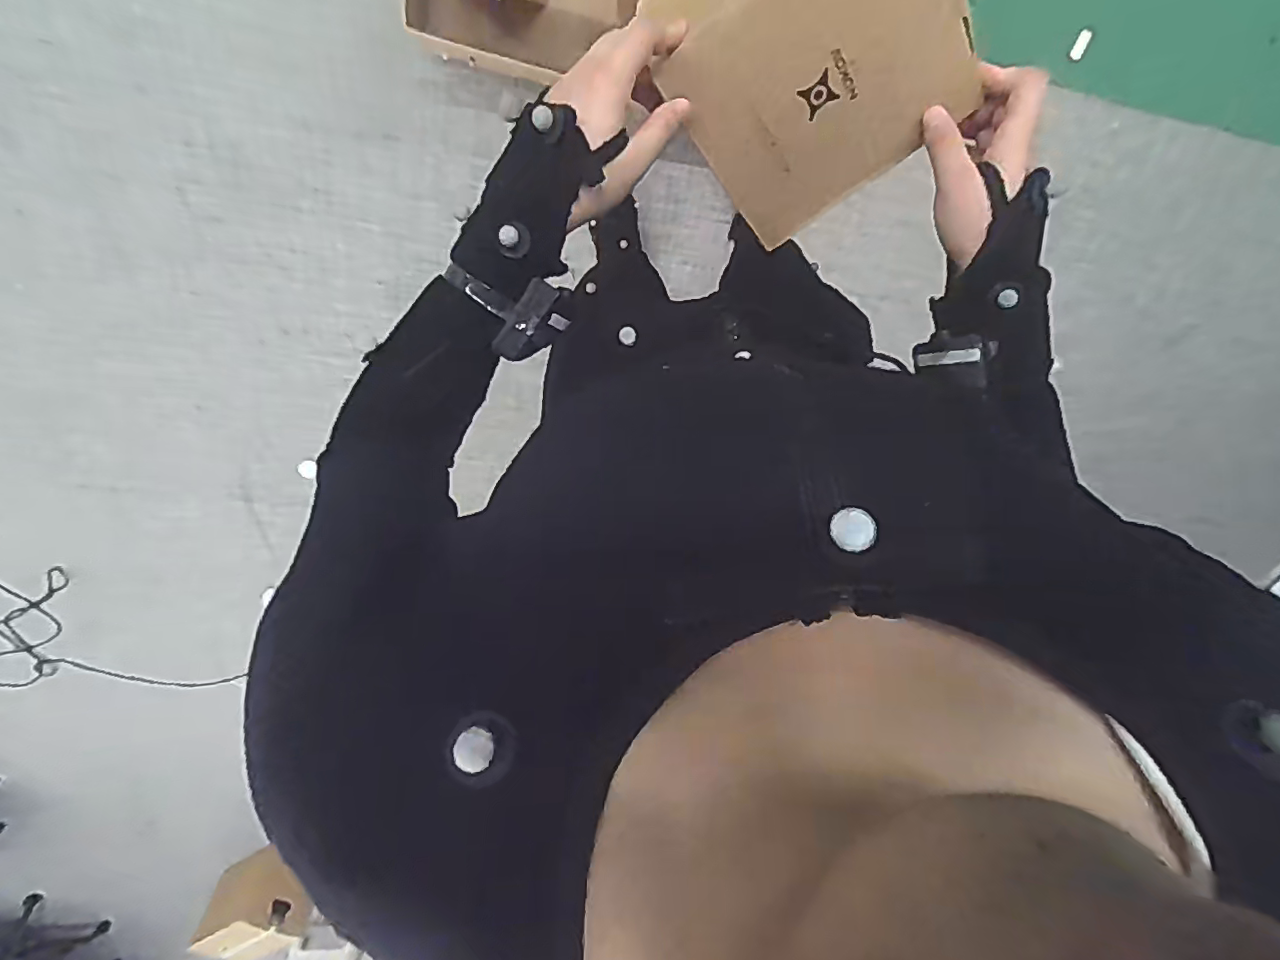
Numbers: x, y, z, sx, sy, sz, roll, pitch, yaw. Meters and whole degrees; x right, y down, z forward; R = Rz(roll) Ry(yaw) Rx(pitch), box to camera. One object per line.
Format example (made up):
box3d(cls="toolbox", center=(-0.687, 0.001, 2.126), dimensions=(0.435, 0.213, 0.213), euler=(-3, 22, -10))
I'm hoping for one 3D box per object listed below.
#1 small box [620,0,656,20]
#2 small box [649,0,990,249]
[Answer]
box3d(cls="small box", center=(0.062, -0.894, 0.912), dimensions=(0.168, 0.176, 0.179), euler=(11, 122, -12))
box3d(cls="small box", center=(0.122, -0.328, 0.412), dimensions=(0.179, 0.176, 0.168), euler=(-29, 136, 29))
